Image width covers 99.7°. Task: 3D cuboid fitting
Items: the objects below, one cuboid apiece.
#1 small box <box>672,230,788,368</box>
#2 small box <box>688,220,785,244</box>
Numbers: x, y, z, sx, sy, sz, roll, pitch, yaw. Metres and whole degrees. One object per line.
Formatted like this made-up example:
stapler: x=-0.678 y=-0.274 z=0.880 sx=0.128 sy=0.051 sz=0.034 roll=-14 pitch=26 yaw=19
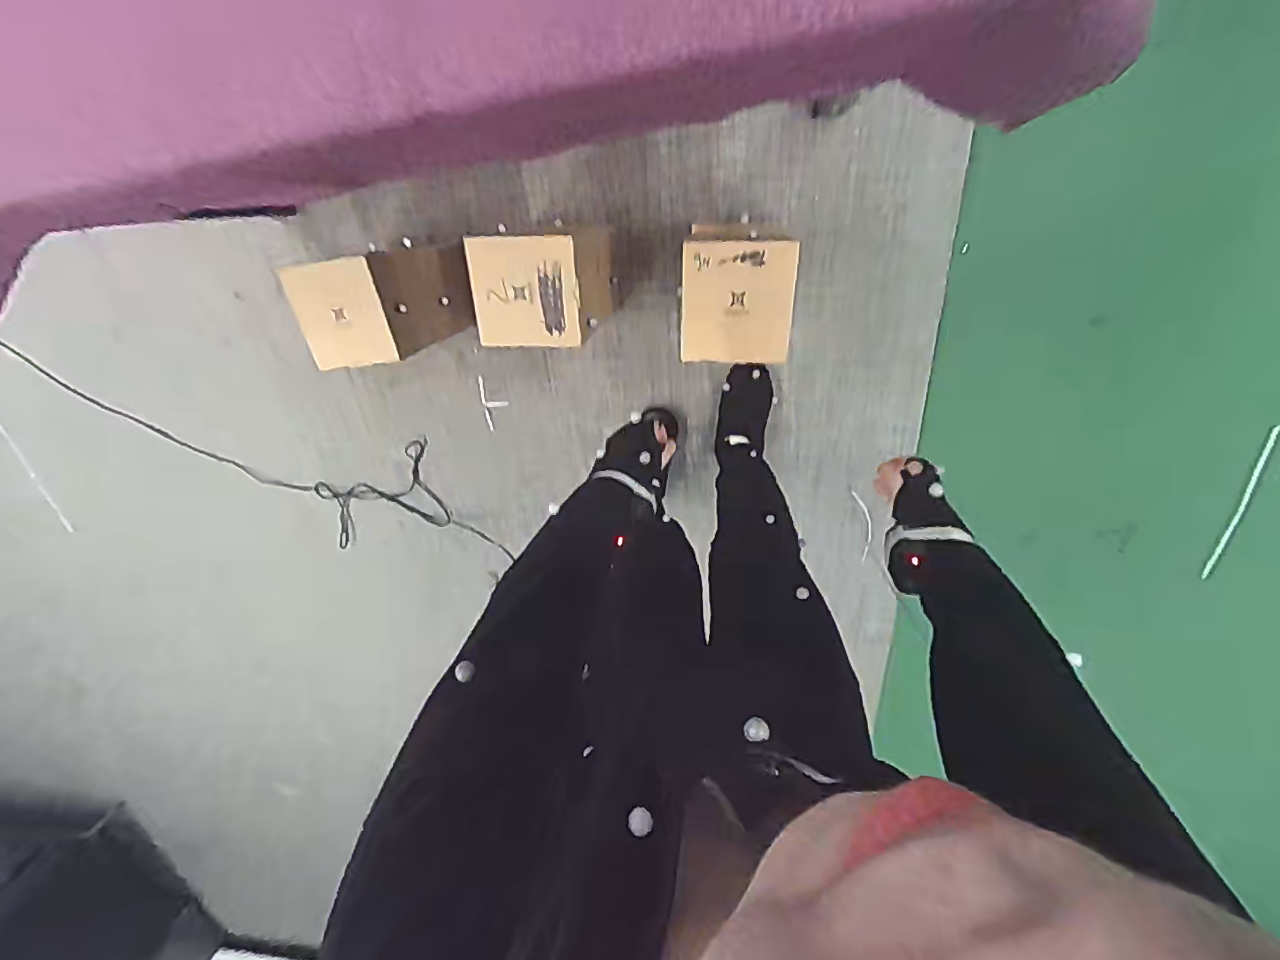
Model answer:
small box: x=0.142 y=-0.295 z=0.877 sx=0.168 sy=0.176 sz=0.179 roll=-3 pitch=119 yaw=7
small box: x=0.170 y=-0.384 z=1.018 sx=0.168 sy=0.176 sz=0.179 roll=7 pitch=118 yaw=6
